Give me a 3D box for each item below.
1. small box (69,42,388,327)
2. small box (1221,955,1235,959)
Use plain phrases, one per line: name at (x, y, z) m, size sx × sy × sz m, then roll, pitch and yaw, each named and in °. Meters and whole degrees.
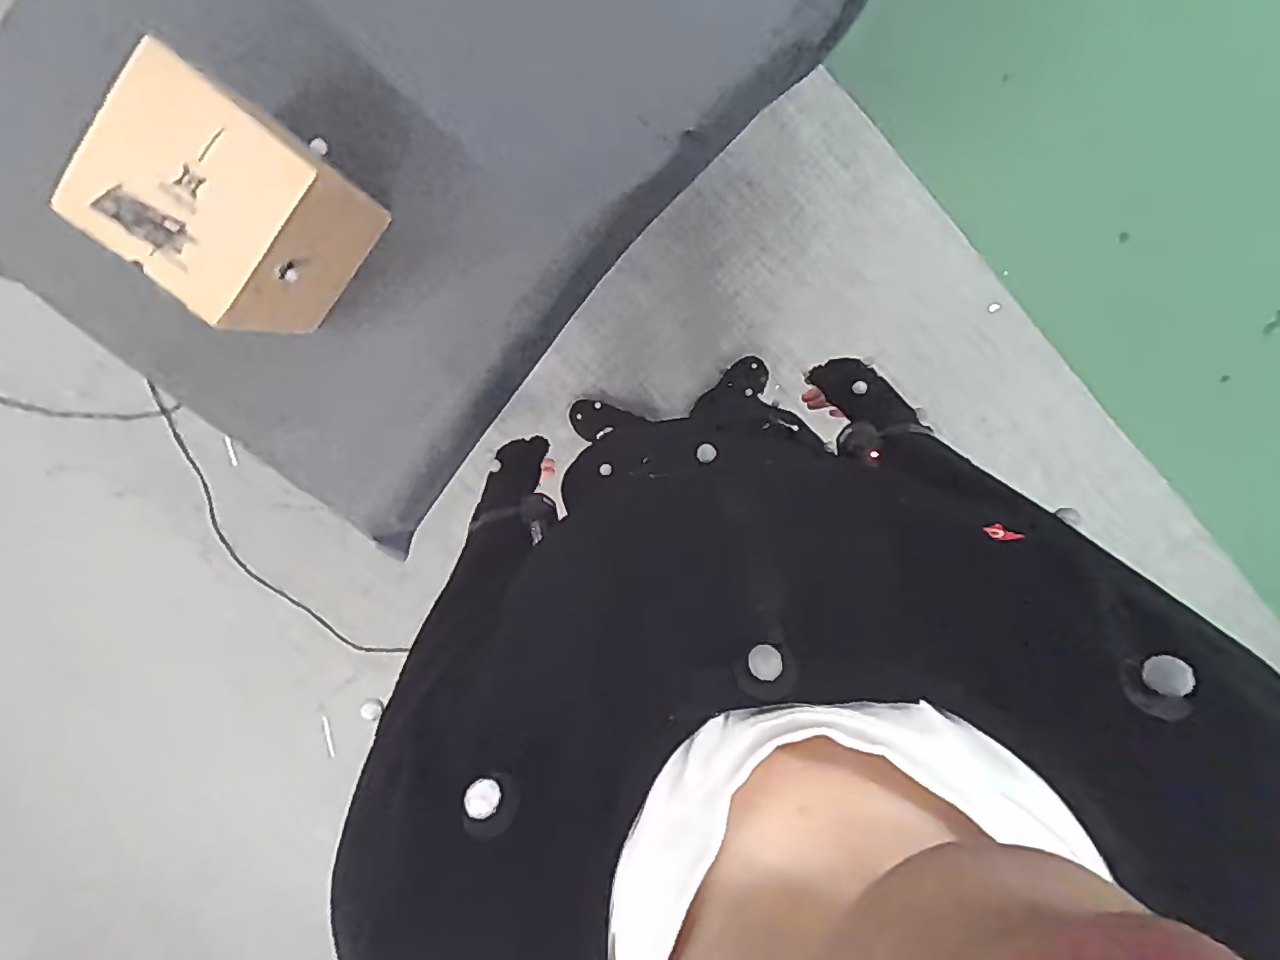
small box at (-0.401, -0.277, 0.563) m, size 0.168 × 0.176 × 0.179 m, roll 39°, pitch 99°, yaw -10°
small box at (1.515, 1.344, 1.346) m, size 0.179 × 0.176 × 0.168 m, roll 42°, pitch 100°, yaw -13°
